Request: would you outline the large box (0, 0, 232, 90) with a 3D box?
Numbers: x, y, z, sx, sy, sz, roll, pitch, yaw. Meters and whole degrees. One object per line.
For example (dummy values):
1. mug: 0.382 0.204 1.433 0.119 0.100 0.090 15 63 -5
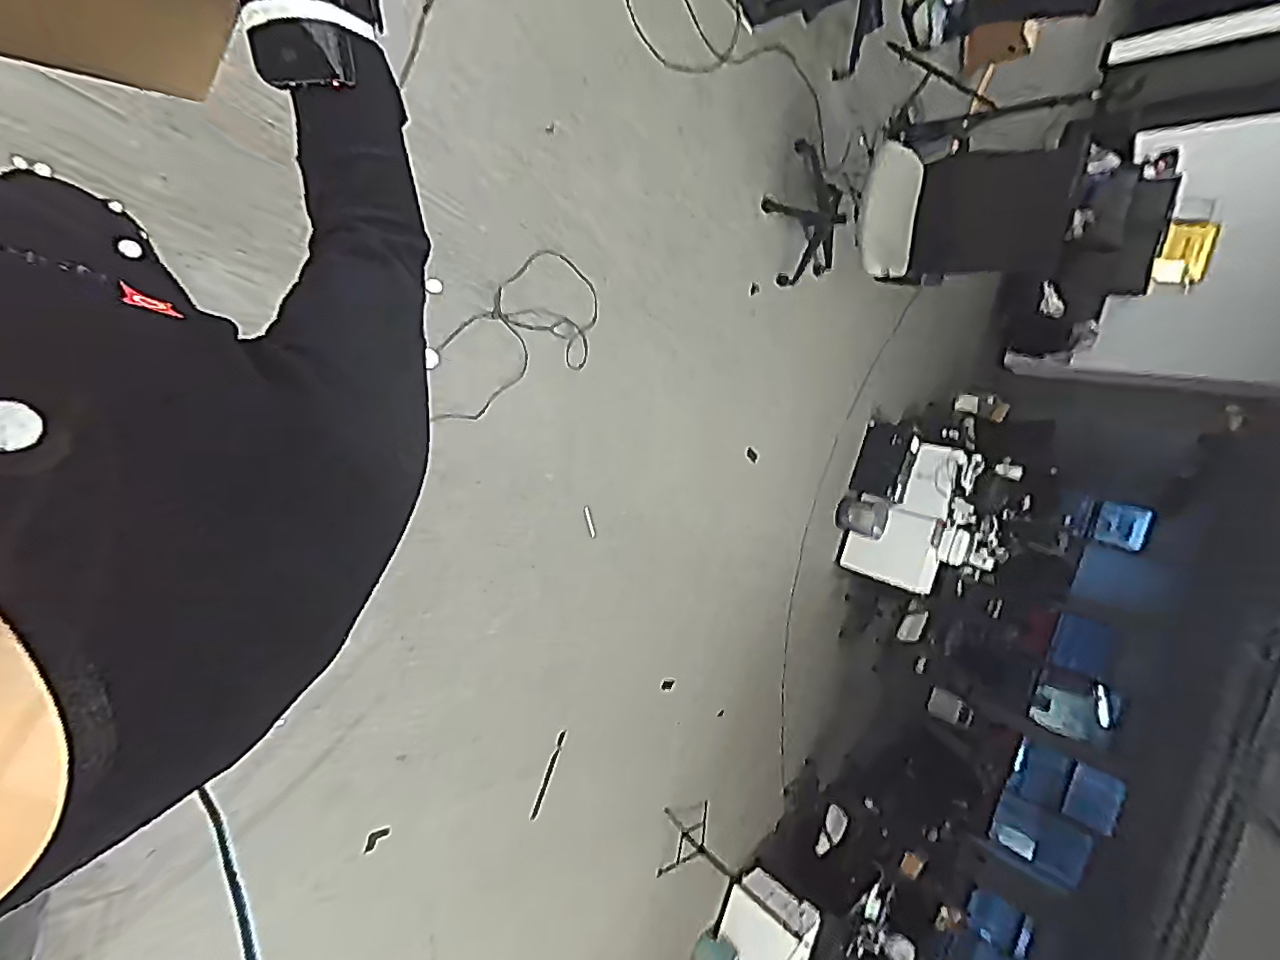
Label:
1. large box: -0.473 -0.461 0.255 0.408 0.320 0.320 -16 109 -43
